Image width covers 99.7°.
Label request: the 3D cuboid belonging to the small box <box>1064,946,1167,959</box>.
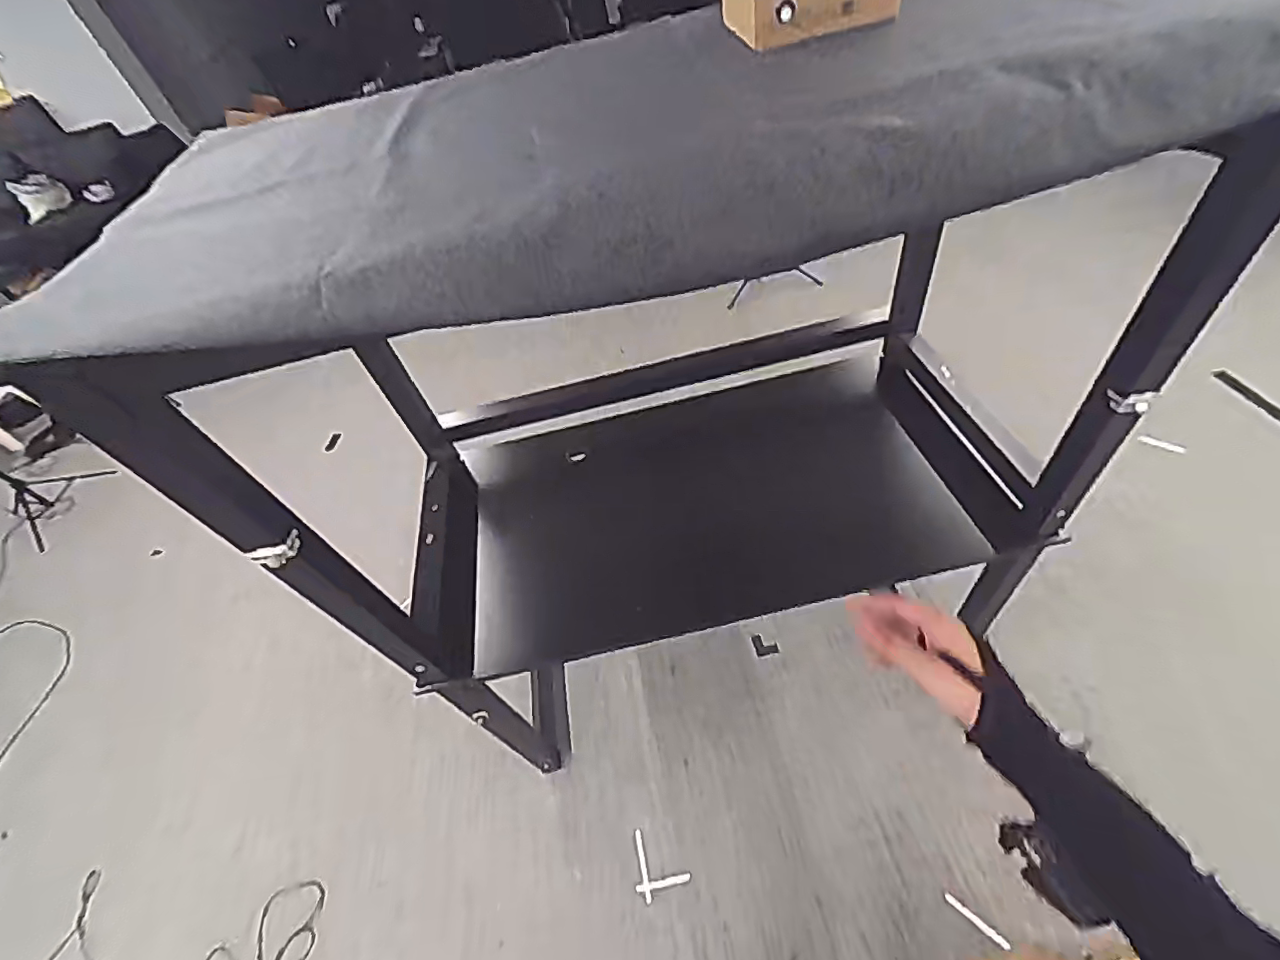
[{"bbox_3d":[0.711,0.815,0.784,0.168,0.176,0.179,-19,49,-3],"label":"small box"}]

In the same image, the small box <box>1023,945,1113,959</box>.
[{"bbox_3d":[0.741,0.913,0.910,0.179,0.176,0.168,-18,50,-2],"label":"small box"}]

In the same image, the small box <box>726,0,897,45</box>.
[{"bbox_3d":[0.190,-0.620,0.609,0.168,0.176,0.179,-11,48,3],"label":"small box"}]
